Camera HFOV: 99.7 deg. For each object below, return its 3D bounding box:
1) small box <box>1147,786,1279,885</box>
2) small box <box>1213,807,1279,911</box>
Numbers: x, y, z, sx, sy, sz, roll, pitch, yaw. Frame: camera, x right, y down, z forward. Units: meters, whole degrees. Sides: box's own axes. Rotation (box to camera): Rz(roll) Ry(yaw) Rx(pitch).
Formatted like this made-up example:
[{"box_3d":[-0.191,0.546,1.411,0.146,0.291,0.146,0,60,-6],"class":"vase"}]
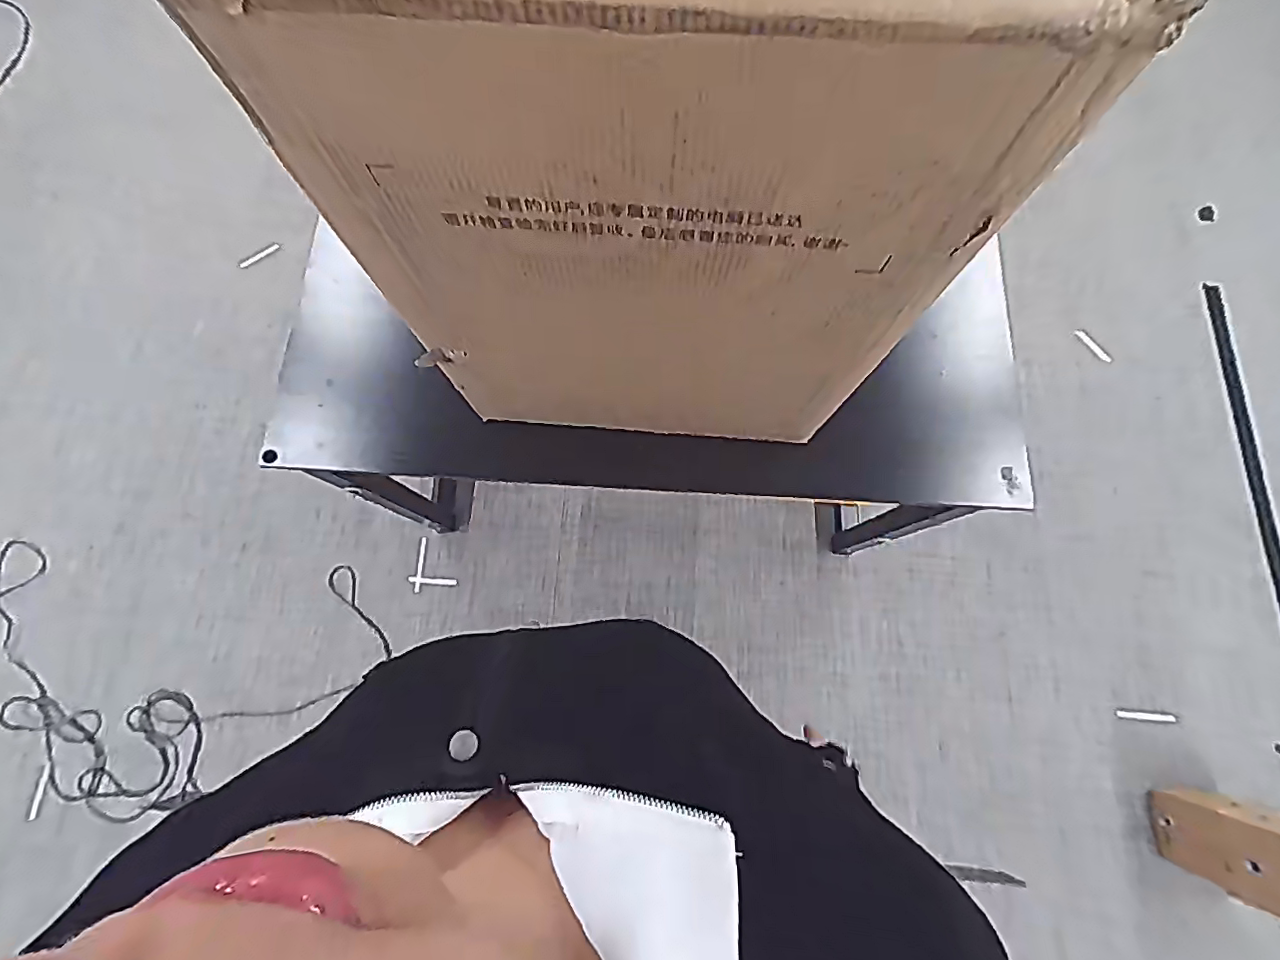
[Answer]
[{"box_3d":[1.384,0.846,1.291,0.179,0.176,0.168,2,74,2],"class":"small box"},{"box_3d":[1.367,0.805,1.132,0.179,0.176,0.168,4,75,1],"class":"small box"}]
